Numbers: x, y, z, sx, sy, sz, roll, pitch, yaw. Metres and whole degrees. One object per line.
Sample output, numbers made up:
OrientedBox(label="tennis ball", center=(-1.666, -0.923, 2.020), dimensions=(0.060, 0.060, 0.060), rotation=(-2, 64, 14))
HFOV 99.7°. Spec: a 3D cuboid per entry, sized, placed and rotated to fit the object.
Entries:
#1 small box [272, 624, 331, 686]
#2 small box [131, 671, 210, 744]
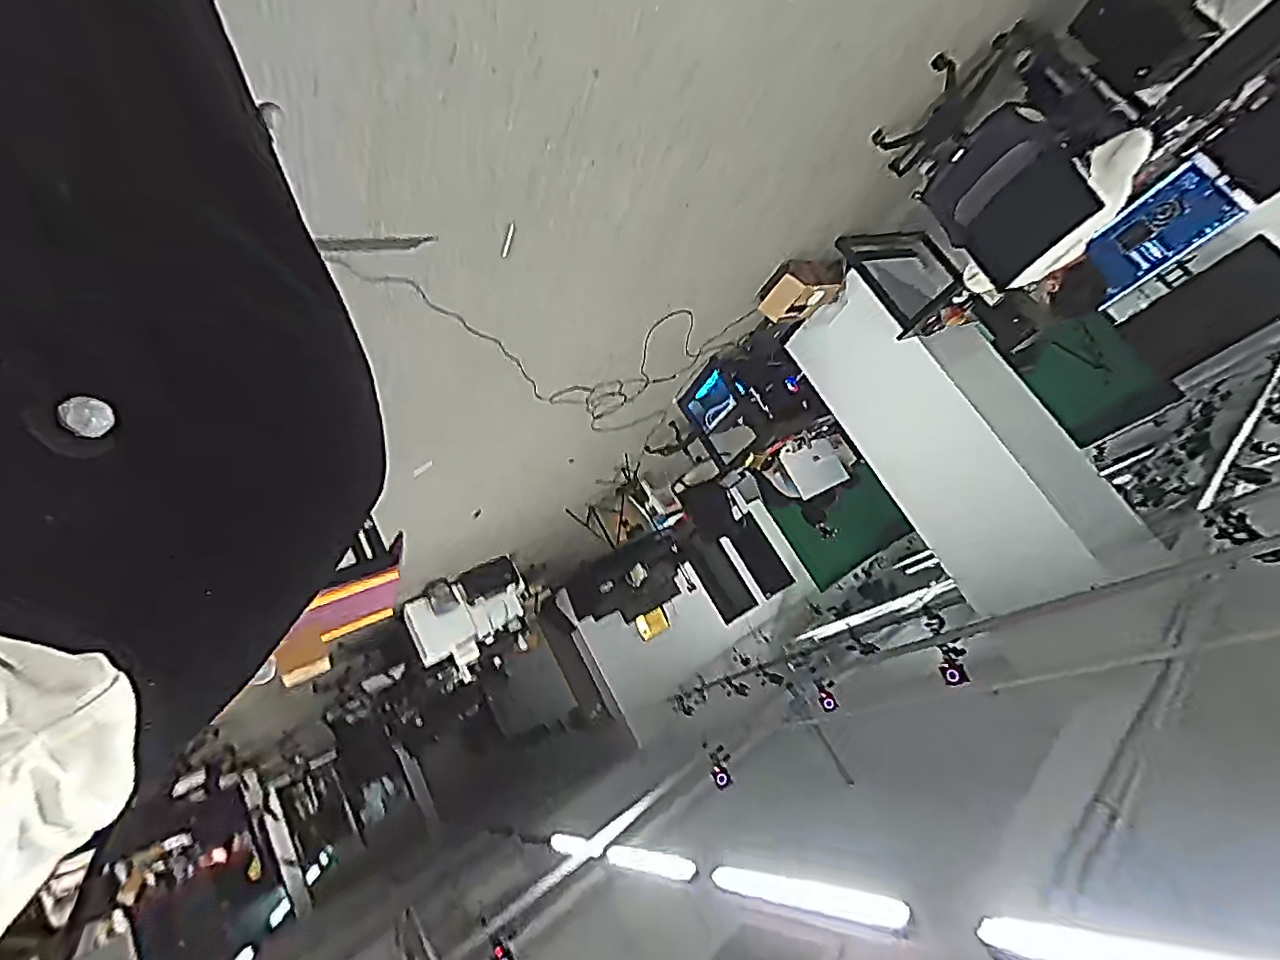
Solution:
OrientedBox(label="small box", center=(-1.385, 0.712, 2.214), dimensions=(0.168, 0.176, 0.179), rotation=(-20, 160, -36))
OrientedBox(label="small box", center=(-1.709, 0.826, 1.966), dimensions=(0.179, 0.176, 0.168), rotation=(-20, 161, -36))
